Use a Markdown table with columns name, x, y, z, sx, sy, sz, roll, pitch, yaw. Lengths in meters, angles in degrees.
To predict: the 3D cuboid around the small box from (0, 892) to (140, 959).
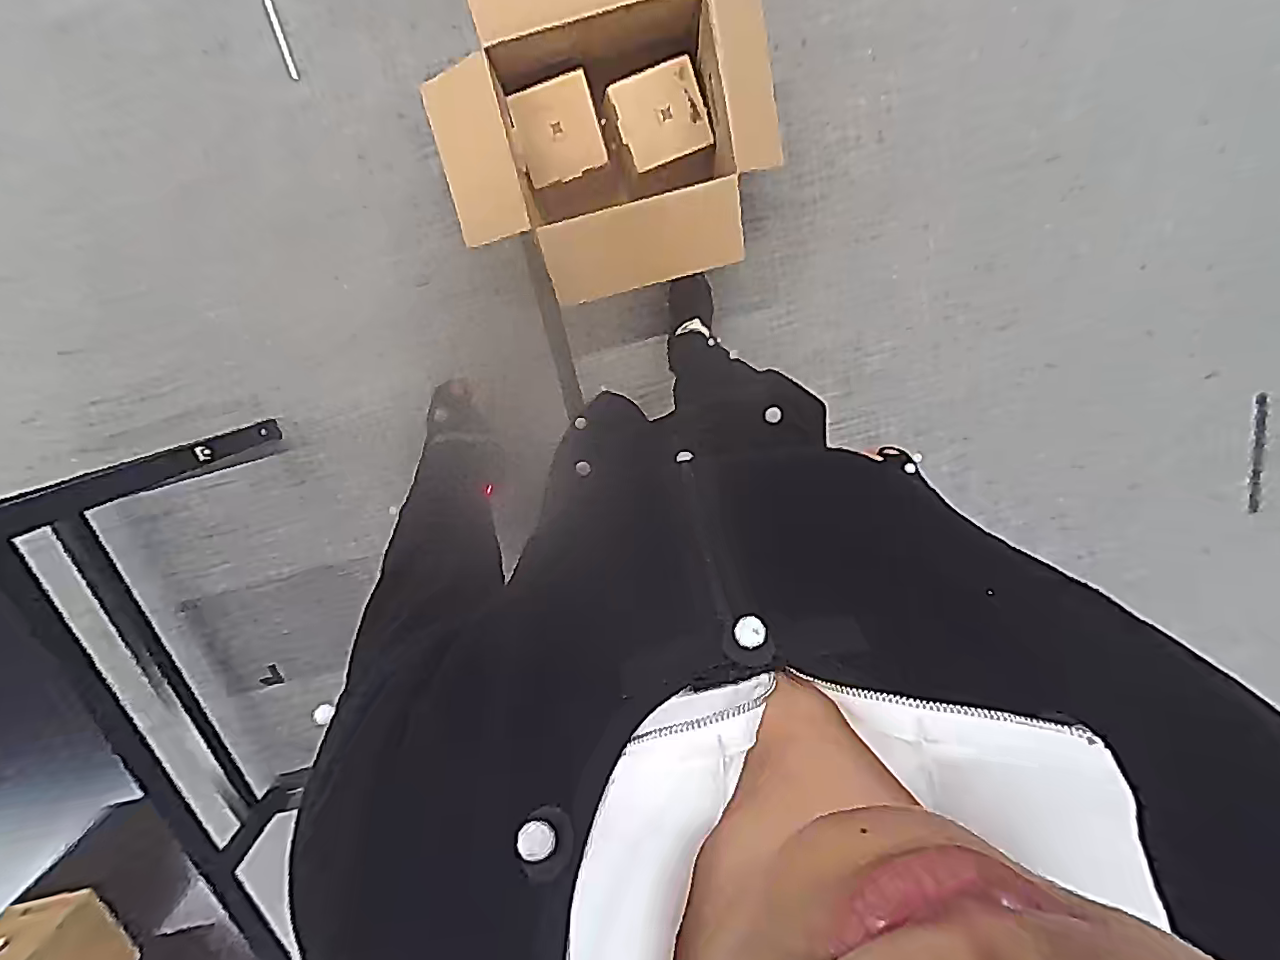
| name | x | y | z | sx | sy | sz | roll | pitch | yaw |
| --- | --- | --- | --- | --- | --- | --- | --- | --- | --- |
| small box | -1.013 | 0.827 | 0.900 | 0.168 | 0.176 | 0.179 | -14 | 107 | 4 |
